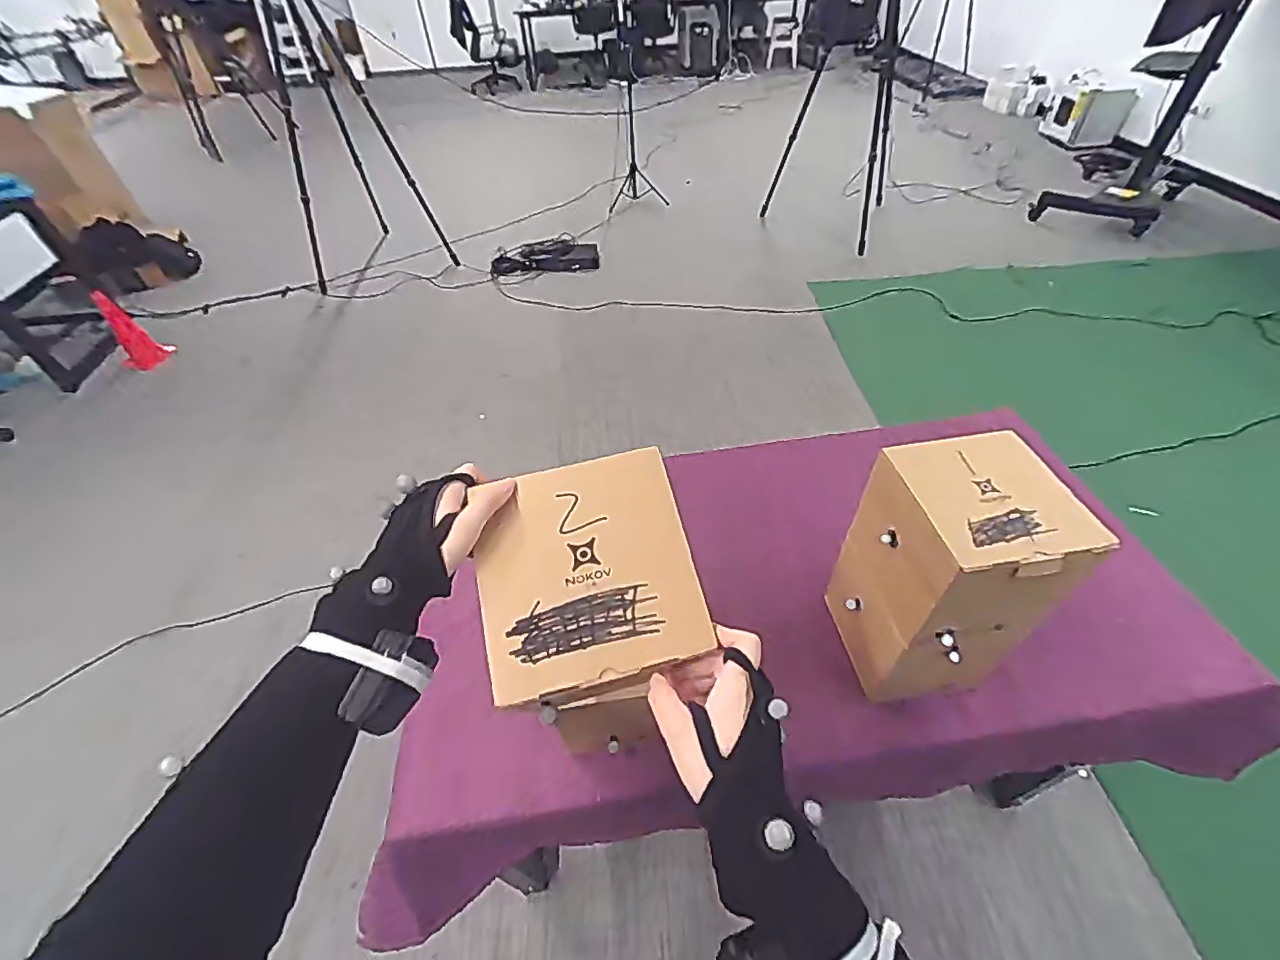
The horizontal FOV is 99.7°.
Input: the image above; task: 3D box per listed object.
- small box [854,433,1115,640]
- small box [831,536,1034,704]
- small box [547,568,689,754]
[{"bbox_3d":[0.378,0.073,0.637,0.168,0.176,0.179,-8,46,-4],"label":"small box"},{"bbox_3d":[0.385,0.186,0.756,0.168,0.176,0.179,-8,46,-2],"label":"small box"},{"bbox_3d":[-0.030,0.245,0.732,0.168,0.176,0.179,-7,47,-2],"label":"small box"}]
